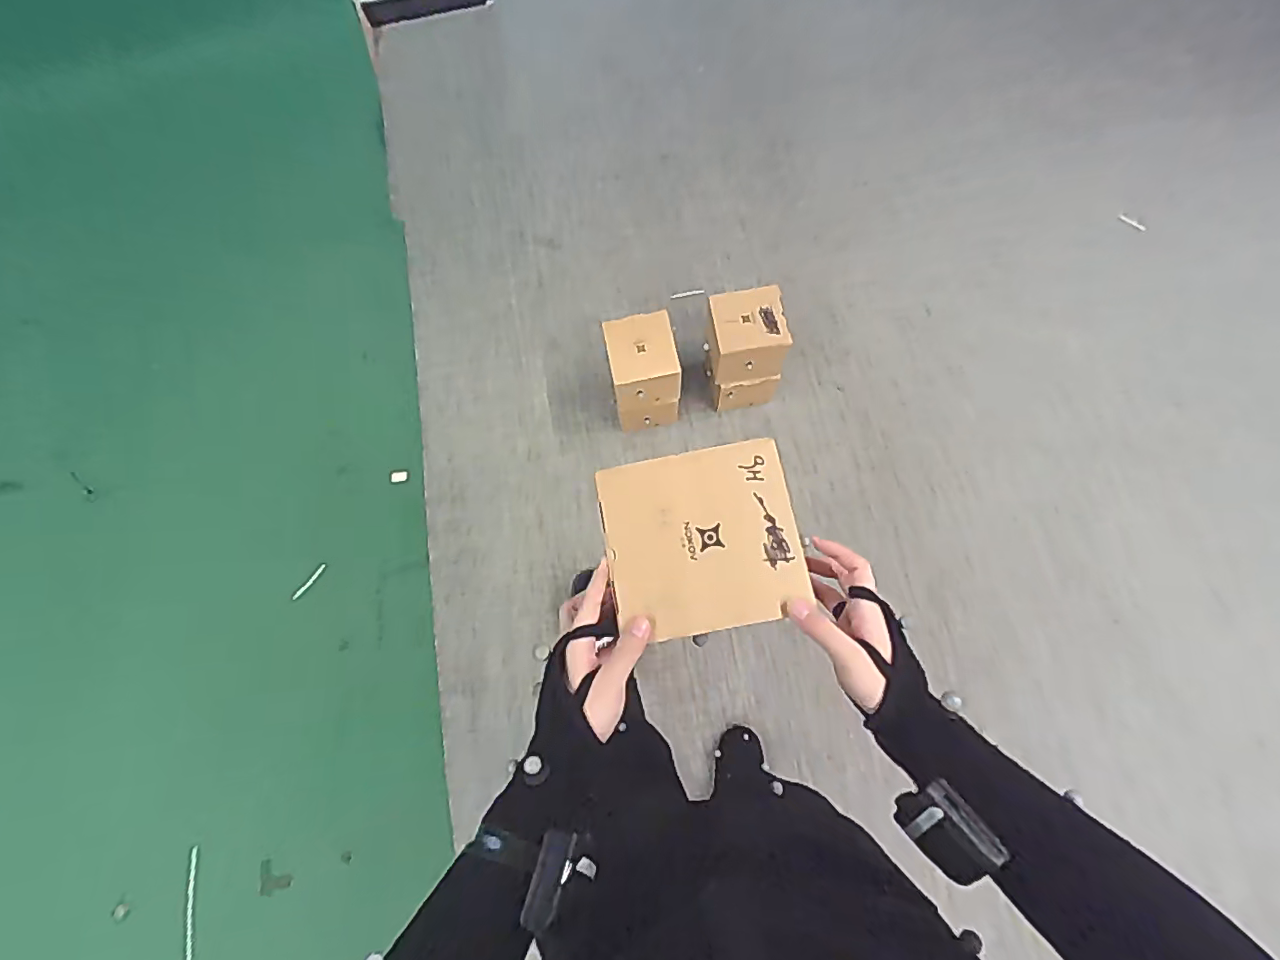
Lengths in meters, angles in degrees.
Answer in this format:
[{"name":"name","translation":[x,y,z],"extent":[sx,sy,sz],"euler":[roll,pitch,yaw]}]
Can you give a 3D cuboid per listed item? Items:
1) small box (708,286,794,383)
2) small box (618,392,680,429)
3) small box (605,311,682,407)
[{"name":"small box","translation":[0.276,-0.367,1.388],"extent":[0.179,0.176,0.168],"euler":[-9,73,2]},{"name":"small box","translation":[0.022,-0.257,1.543],"extent":[0.168,0.176,0.179],"euler":[-9,74,0]},{"name":"small box","translation":[0.014,-0.300,1.387],"extent":[0.168,0.176,0.179],"euler":[-12,74,0]}]
